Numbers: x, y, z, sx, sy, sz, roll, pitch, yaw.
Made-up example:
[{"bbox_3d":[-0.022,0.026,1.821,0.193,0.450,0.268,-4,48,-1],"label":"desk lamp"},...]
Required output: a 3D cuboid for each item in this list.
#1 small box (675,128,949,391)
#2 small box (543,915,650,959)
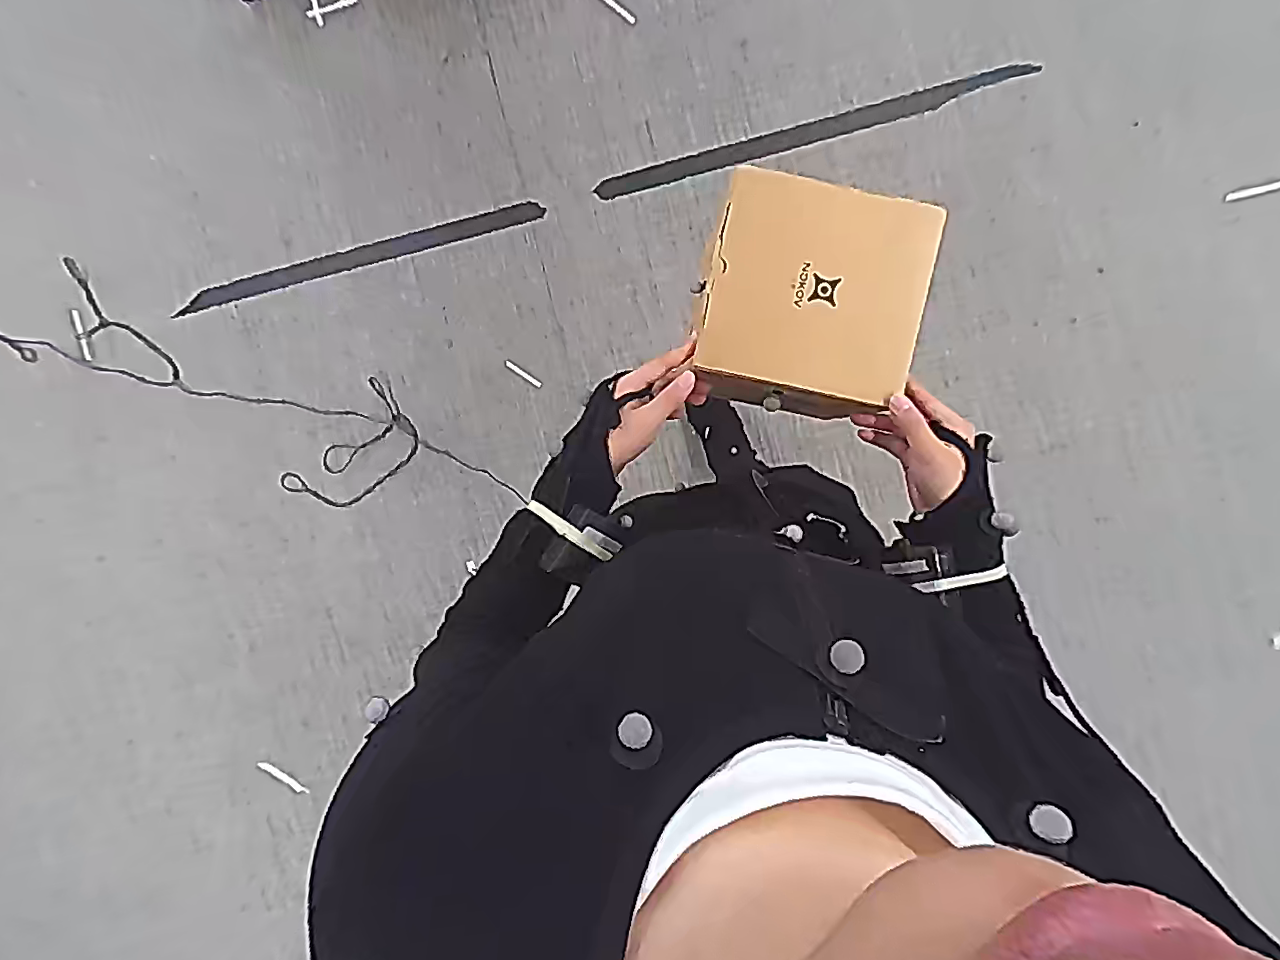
[{"bbox_3d":[0.136,-0.180,0.499,0.179,0.176,0.168,11,96,-1],"label":"small box"},{"bbox_3d":[-0.071,0.869,0.899,0.179,0.176,0.168,-10,94,7],"label":"small box"}]
